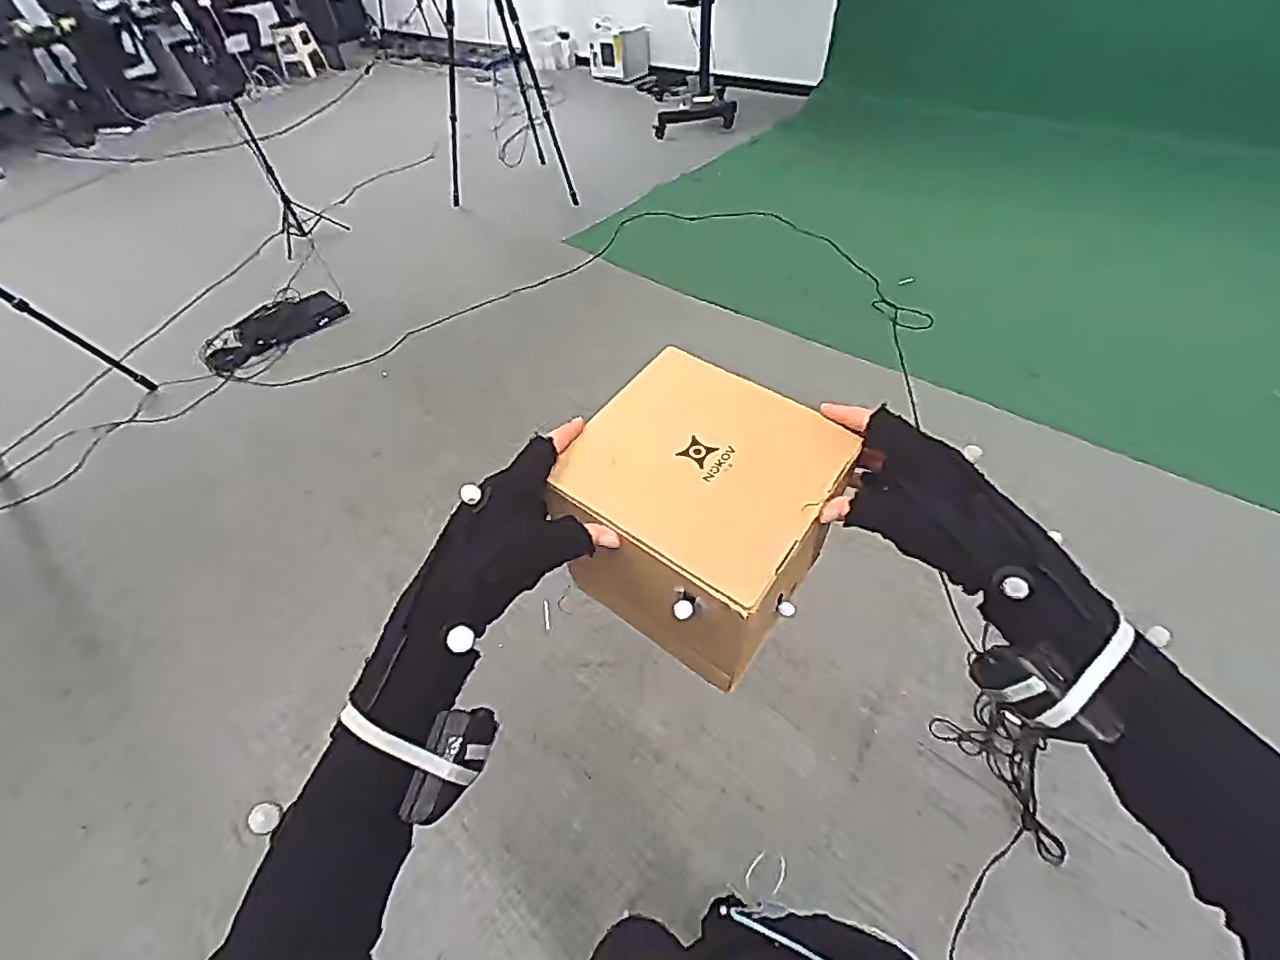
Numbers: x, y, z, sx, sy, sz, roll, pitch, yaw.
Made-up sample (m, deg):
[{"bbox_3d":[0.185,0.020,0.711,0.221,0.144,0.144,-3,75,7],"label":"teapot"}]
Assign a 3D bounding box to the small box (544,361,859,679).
[{"bbox_3d":[0.047,0.037,0.456,0.179,0.176,0.168,31,60,23],"label":"small box"}]
